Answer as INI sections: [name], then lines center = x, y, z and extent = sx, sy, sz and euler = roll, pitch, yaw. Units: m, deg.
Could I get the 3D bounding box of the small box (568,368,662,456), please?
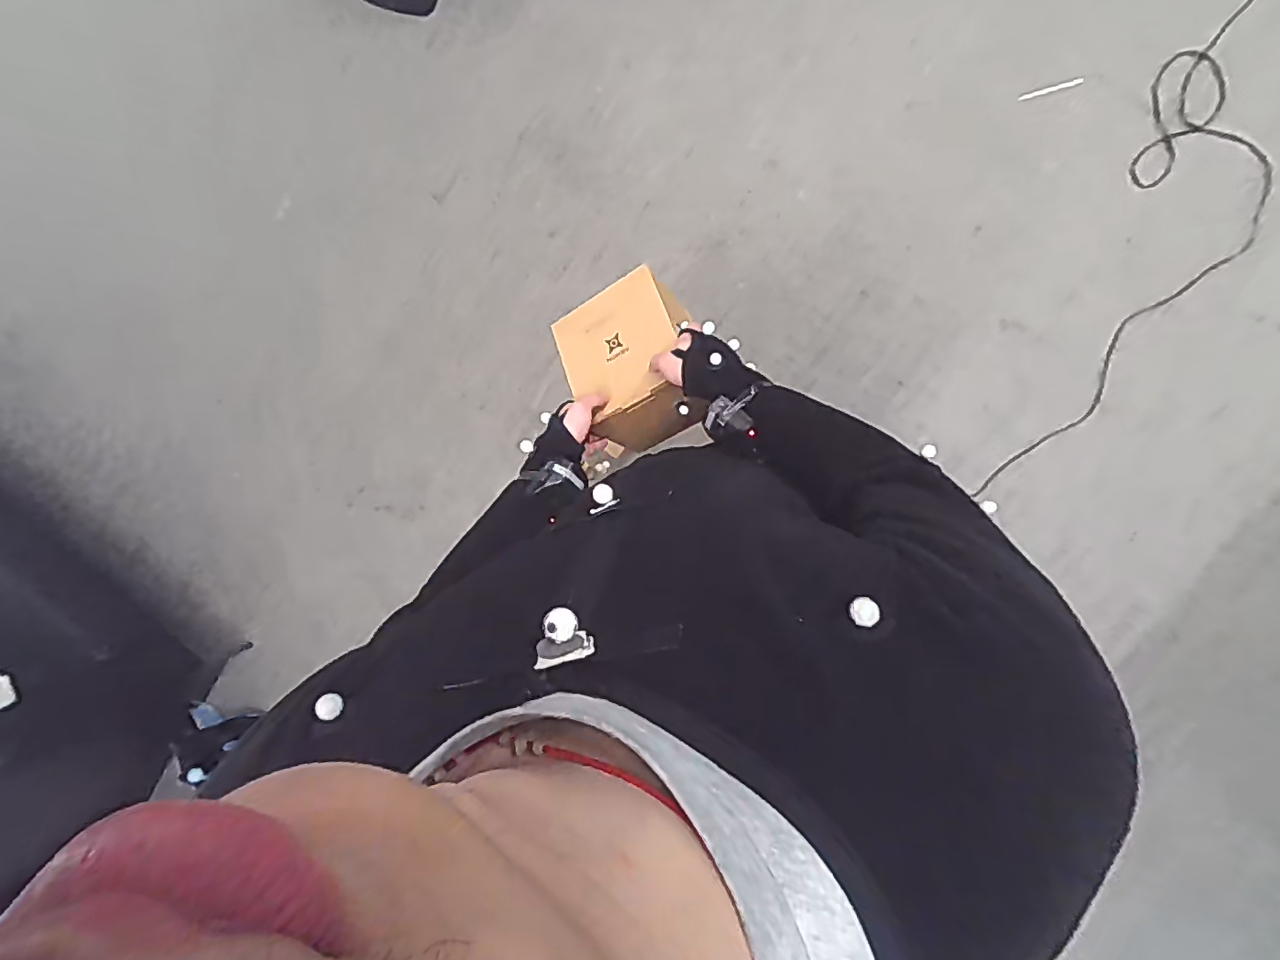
[small box]
center = -0.063, -0.181, 1.486
extent = 0.179, 0.176, 0.168
euler = 38, 101, 6
